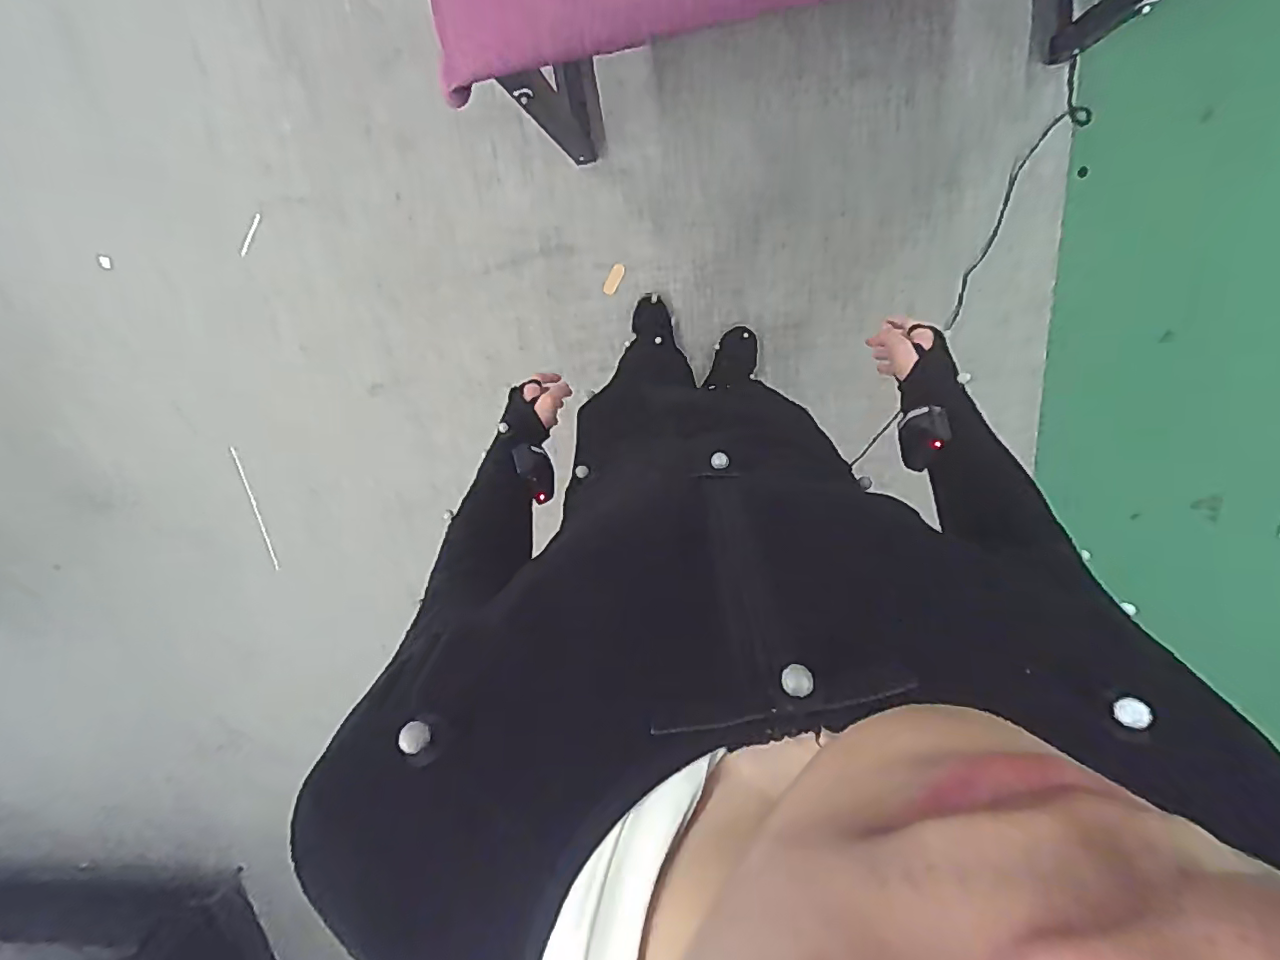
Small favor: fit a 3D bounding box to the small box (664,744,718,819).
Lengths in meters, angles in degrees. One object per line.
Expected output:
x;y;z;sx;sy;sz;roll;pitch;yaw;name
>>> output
0.182;1.062;1.914;0.179;0.176;0.168;-3;107;8;small box
